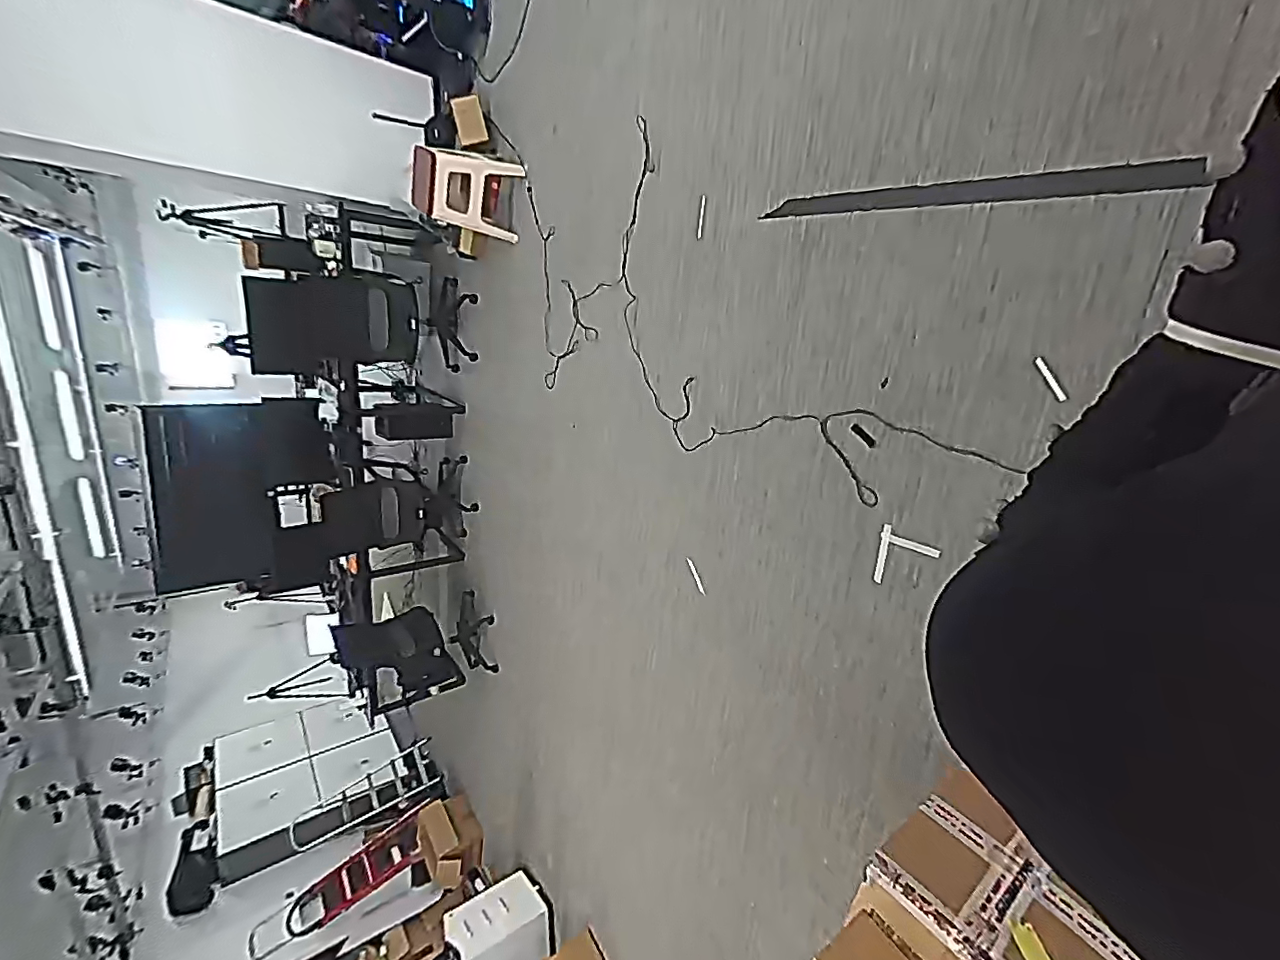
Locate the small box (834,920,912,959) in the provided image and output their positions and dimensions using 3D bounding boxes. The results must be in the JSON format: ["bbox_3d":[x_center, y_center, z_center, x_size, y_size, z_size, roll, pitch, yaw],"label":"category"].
[{"bbox_3d":[0.447,0.998,1.018,0.179,0.176,0.168,35,121,47],"label":"small box"}]
